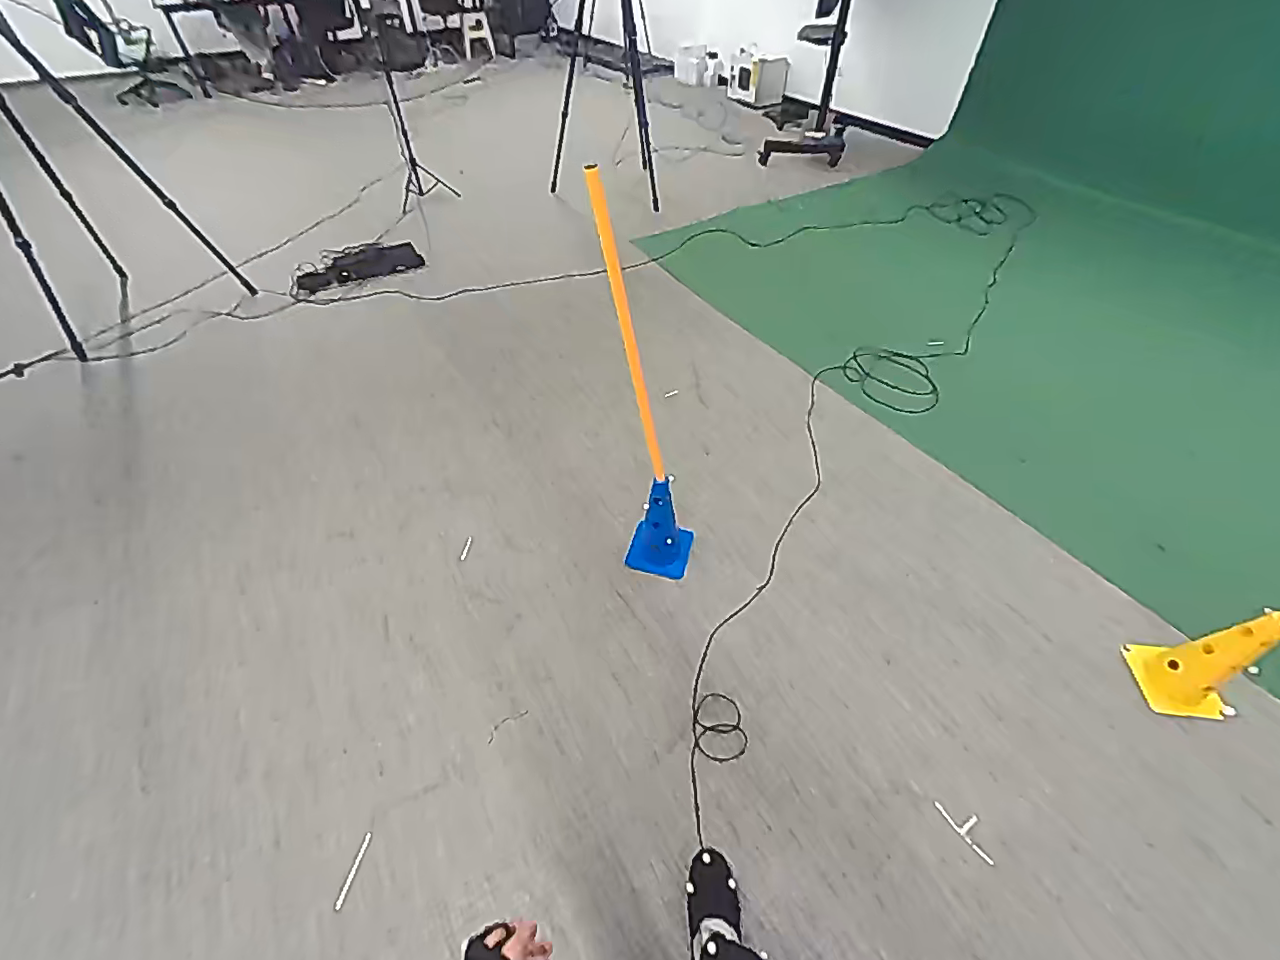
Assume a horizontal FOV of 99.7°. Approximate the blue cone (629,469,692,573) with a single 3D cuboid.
[{"bbox_3d":[0.064,0.112,1.668,0.193,0.380,0.192,10,49,11],"label":"blue cone"}]
